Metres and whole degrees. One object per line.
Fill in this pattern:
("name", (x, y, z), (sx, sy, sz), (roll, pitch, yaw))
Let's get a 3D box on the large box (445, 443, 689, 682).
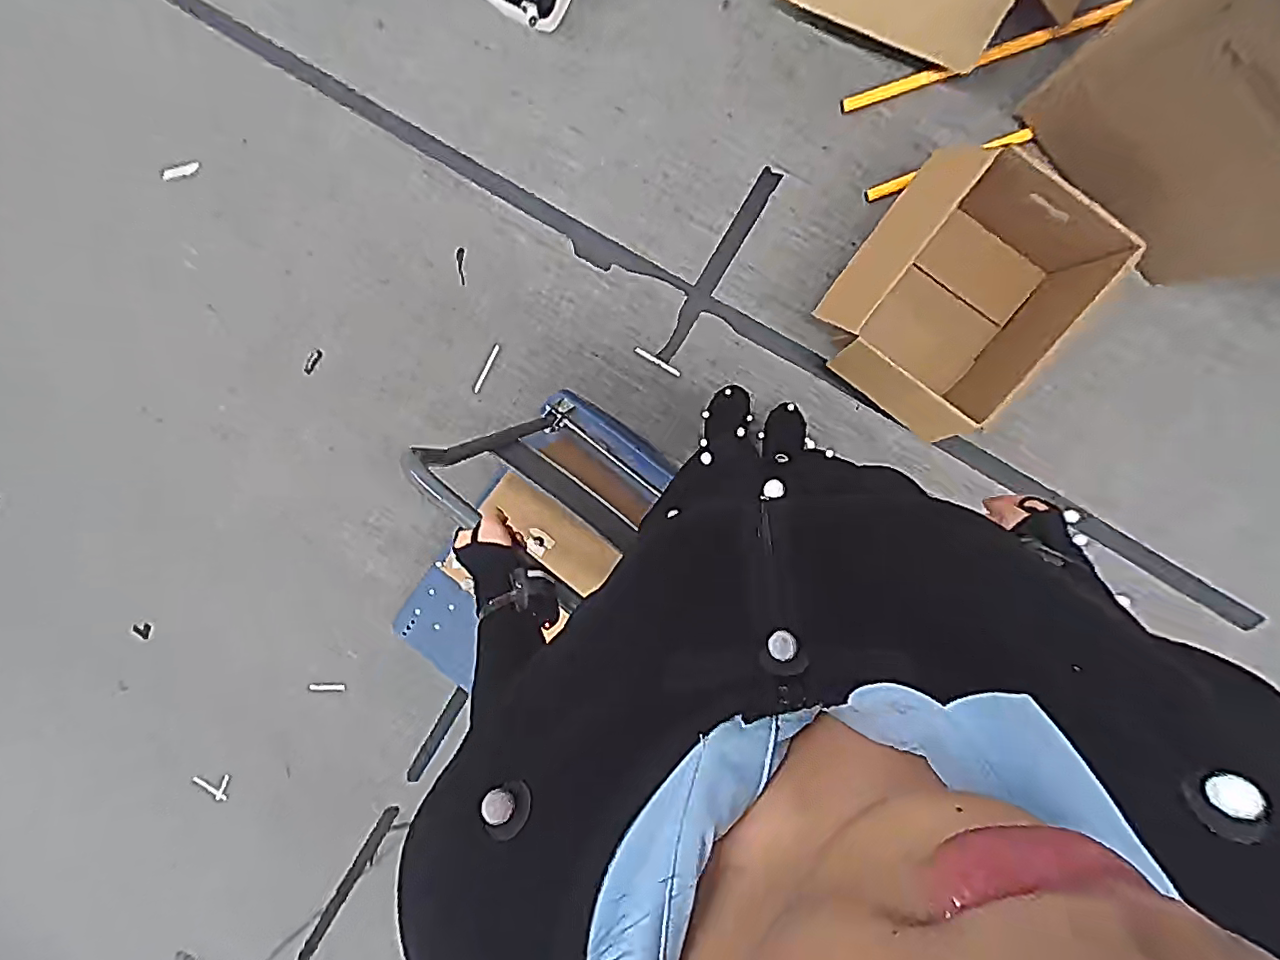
("large box", (-0.147, 0.169, 1.254), (0.408, 0.320, 0.320), (39, 105, 1))
